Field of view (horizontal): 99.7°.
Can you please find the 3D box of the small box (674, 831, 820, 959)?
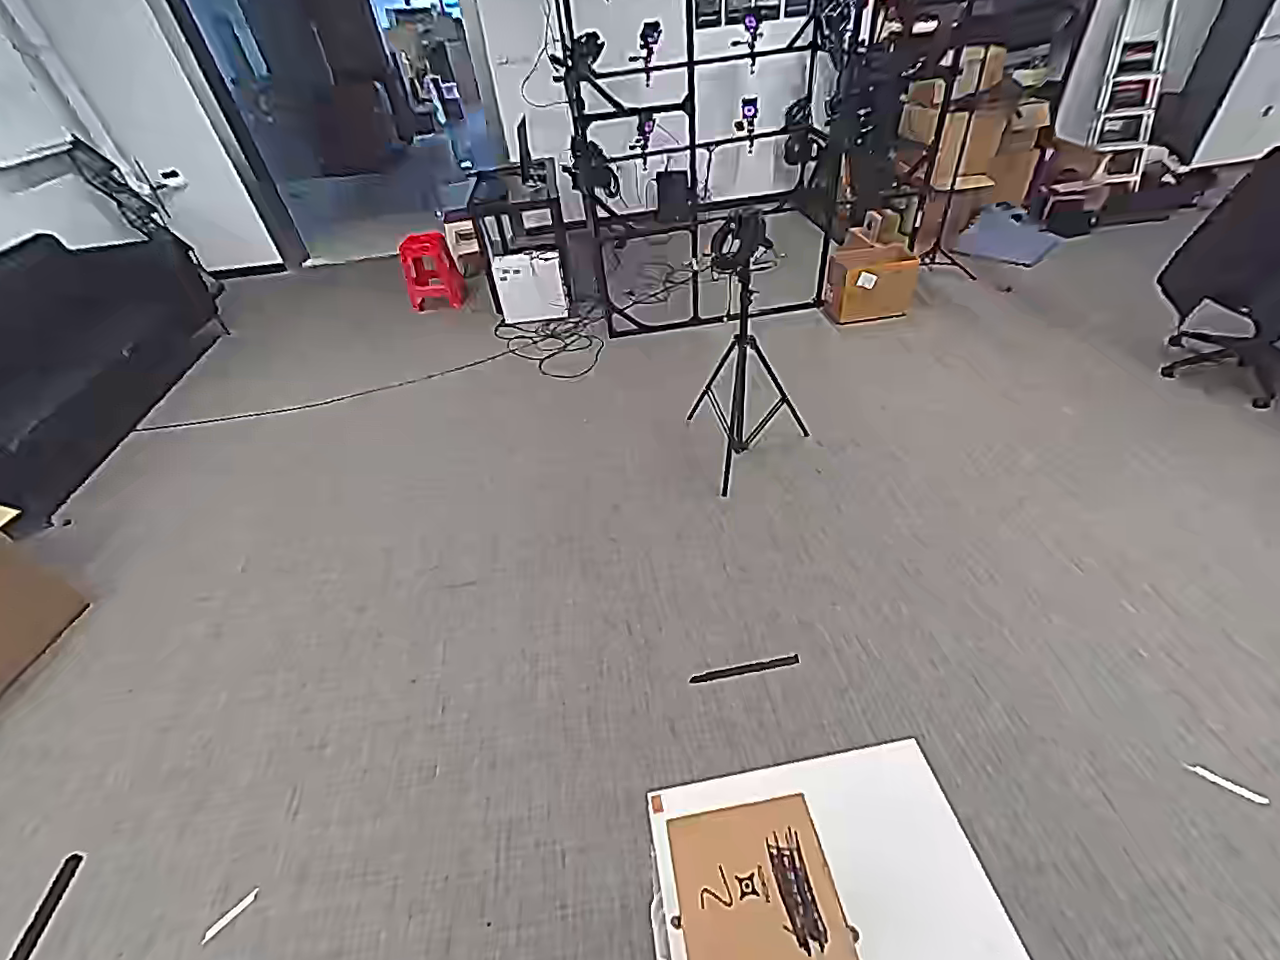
[{"bbox_3d":[0.146,0.634,0.766,0.168,0.176,0.179,-9,41,-3],"label":"small box"}]
